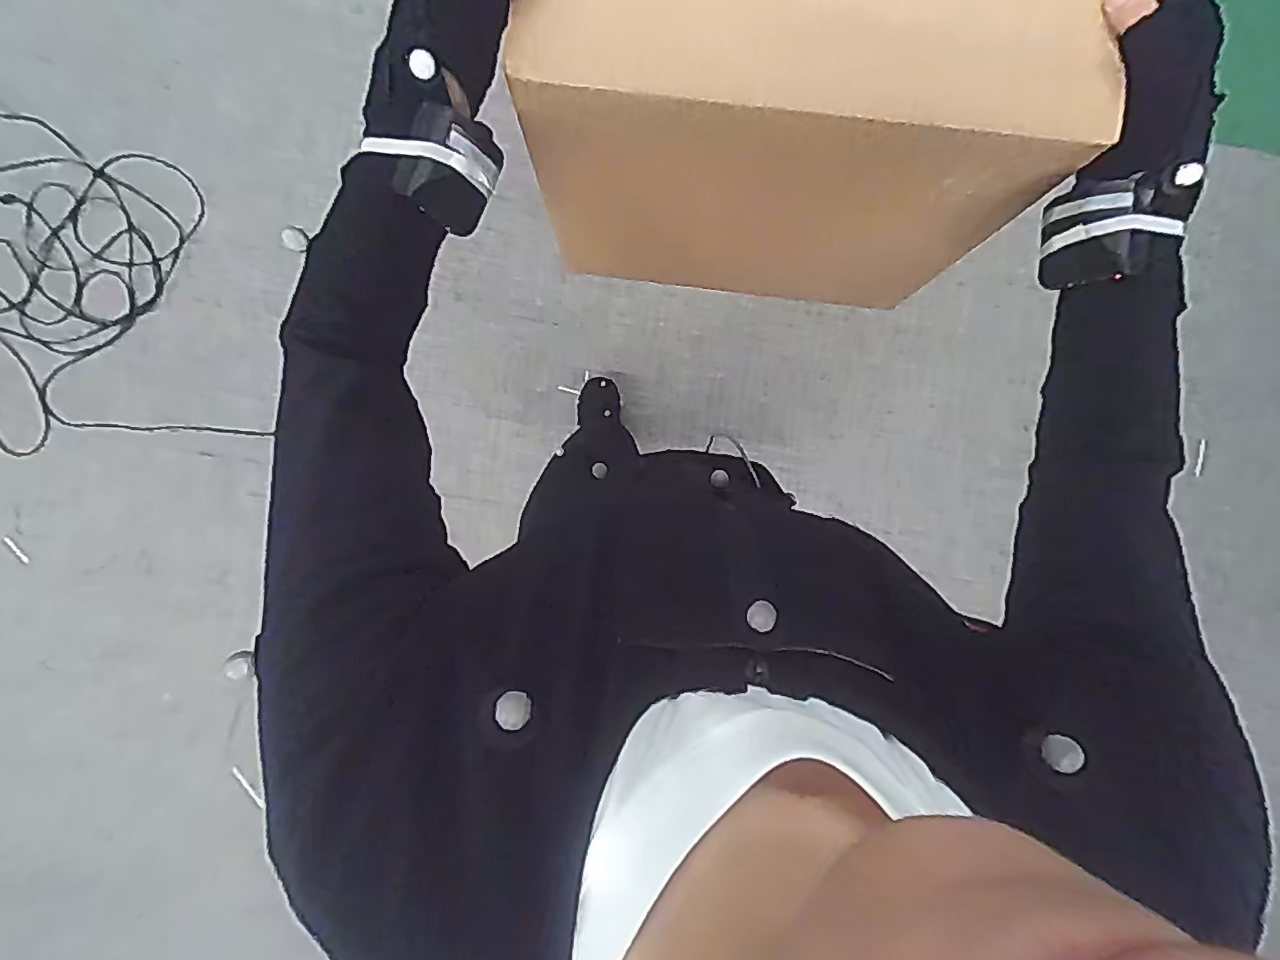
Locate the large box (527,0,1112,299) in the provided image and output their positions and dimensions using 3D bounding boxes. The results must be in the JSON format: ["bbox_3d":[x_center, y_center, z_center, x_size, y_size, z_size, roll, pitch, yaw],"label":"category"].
[{"bbox_3d":[0.127,-0.394,0.521,0.408,0.320,0.320,6,88,-1],"label":"large box"}]
